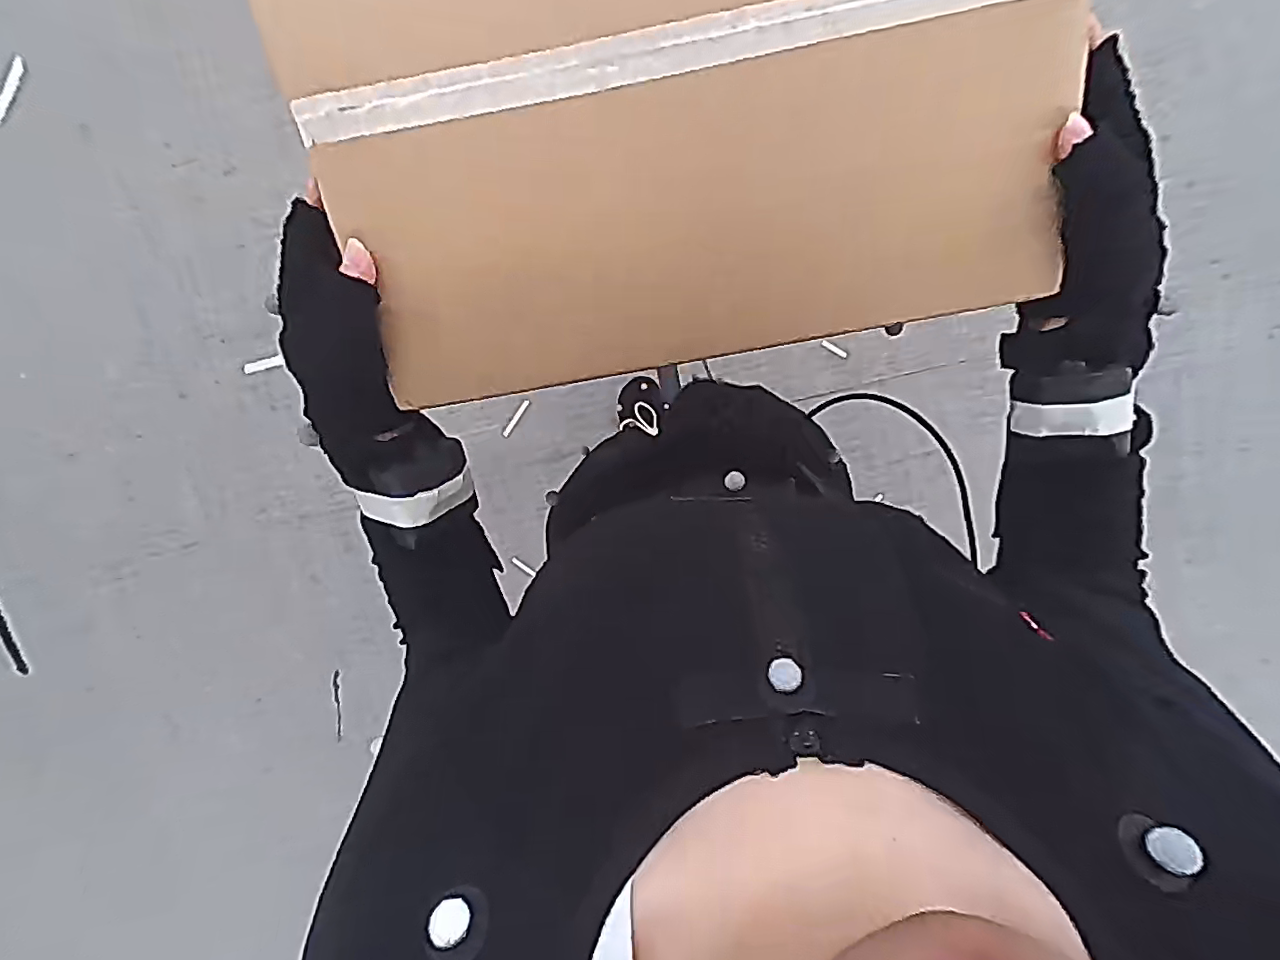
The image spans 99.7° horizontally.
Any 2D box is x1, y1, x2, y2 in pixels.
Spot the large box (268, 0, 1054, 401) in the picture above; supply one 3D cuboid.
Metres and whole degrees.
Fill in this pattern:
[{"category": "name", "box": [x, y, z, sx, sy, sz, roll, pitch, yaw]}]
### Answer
[{"category": "large box", "box": [0.016, -0.280, 0.420, 0.408, 0.320, 0.320, -10, 111, 3]}]
